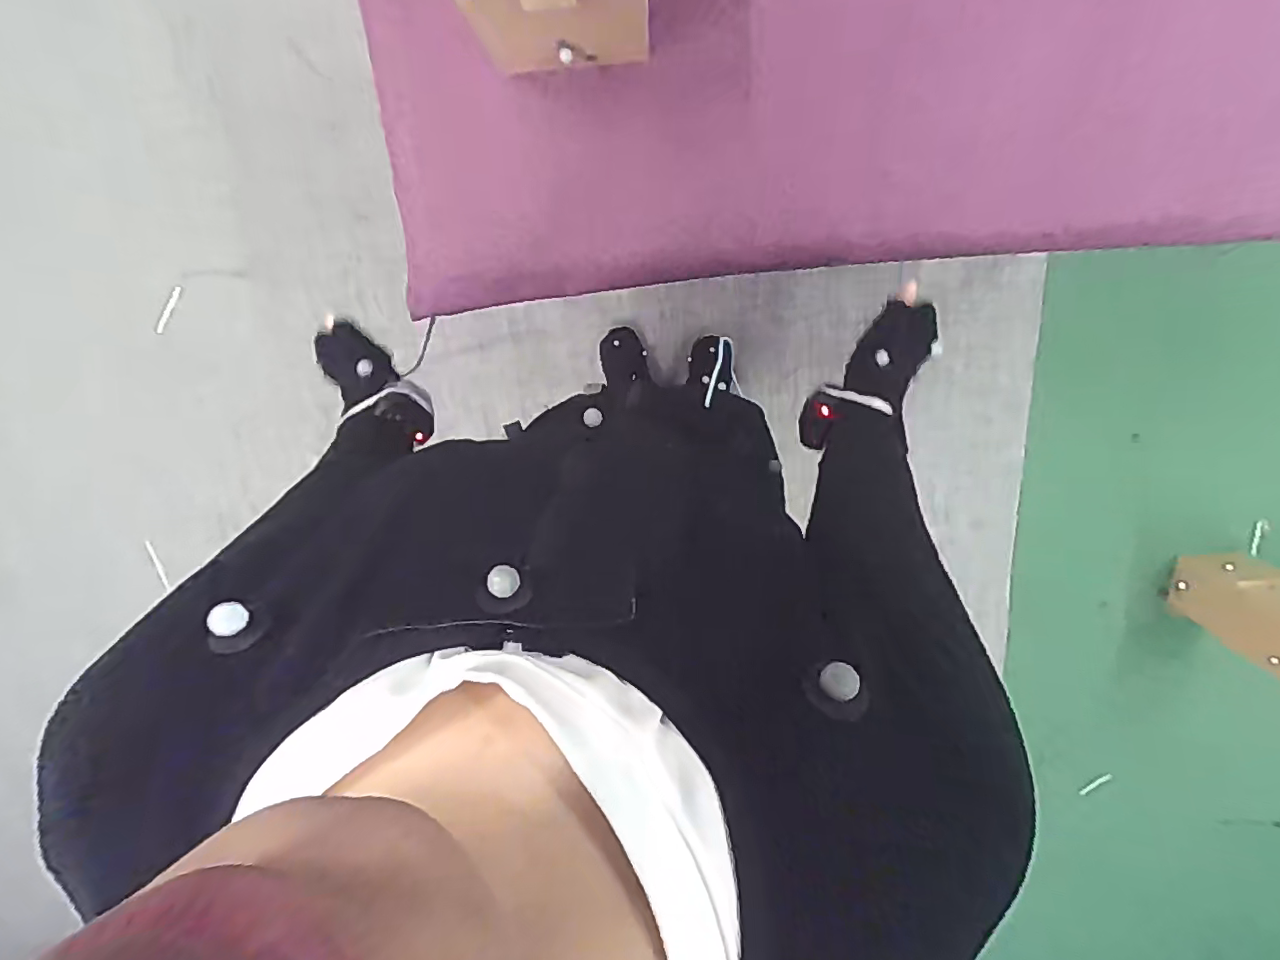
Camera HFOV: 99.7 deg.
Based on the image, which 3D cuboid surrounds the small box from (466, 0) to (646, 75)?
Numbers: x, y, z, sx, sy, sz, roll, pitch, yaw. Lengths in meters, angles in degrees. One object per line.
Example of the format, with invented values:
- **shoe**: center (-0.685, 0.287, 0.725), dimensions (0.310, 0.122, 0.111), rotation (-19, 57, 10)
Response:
- **small box**: center (-0.080, -0.514, 0.498), dimensions (0.168, 0.176, 0.179), rotation (-3, 107, 3)

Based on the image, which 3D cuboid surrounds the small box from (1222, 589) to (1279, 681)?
- **small box**: center (1.589, 0.376, 1.312), dimensions (0.168, 0.176, 0.179), rotation (-4, 108, 4)
